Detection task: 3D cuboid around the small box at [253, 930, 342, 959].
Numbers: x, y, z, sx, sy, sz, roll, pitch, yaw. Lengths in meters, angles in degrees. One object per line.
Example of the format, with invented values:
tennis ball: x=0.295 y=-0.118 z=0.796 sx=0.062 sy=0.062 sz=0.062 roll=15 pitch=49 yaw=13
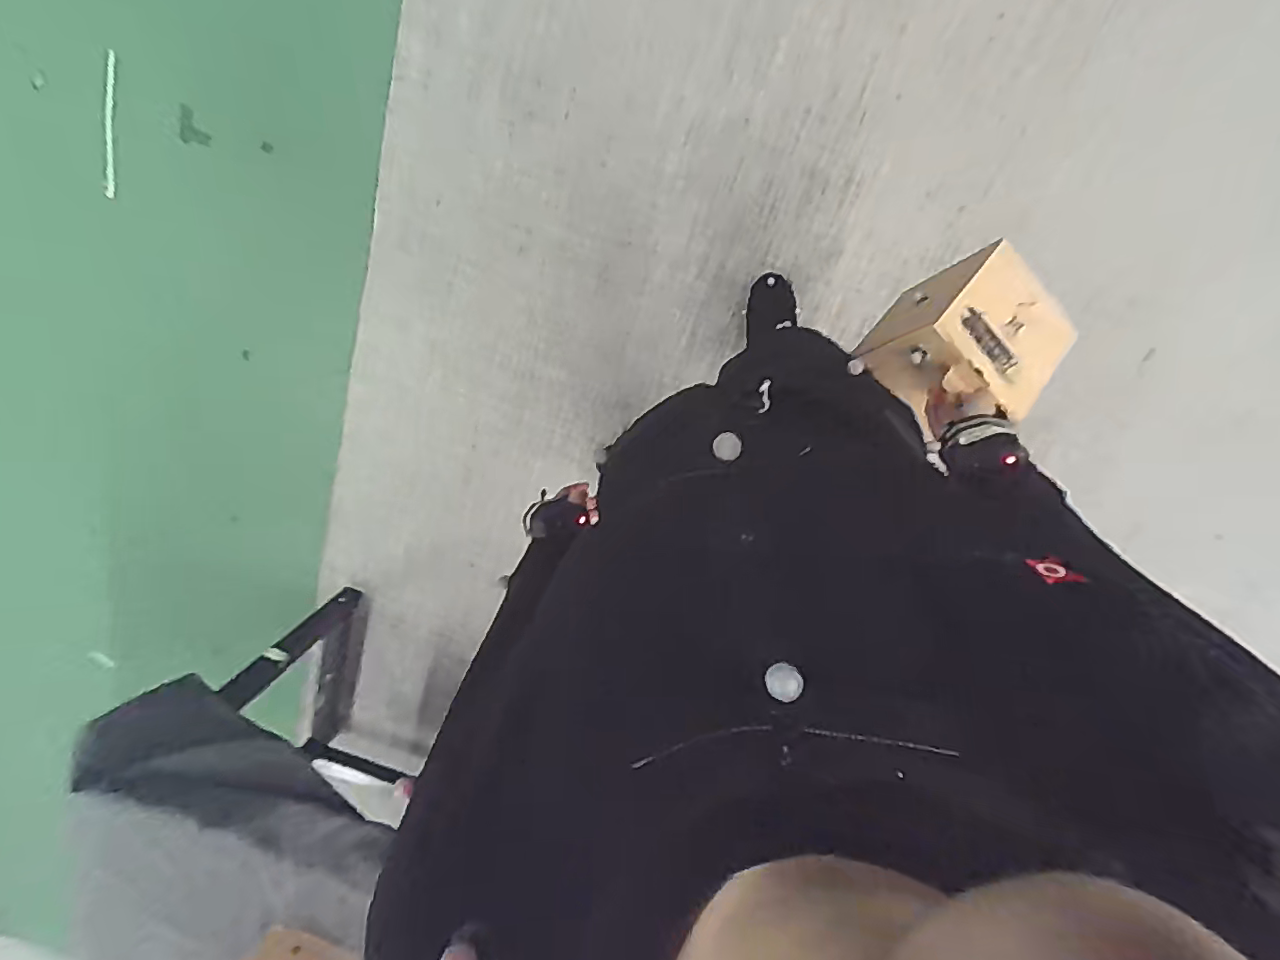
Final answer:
small box: x=-0.605 y=0.910 z=0.902 sx=0.168 sy=0.176 sz=0.179 roll=22 pitch=110 yaw=1
